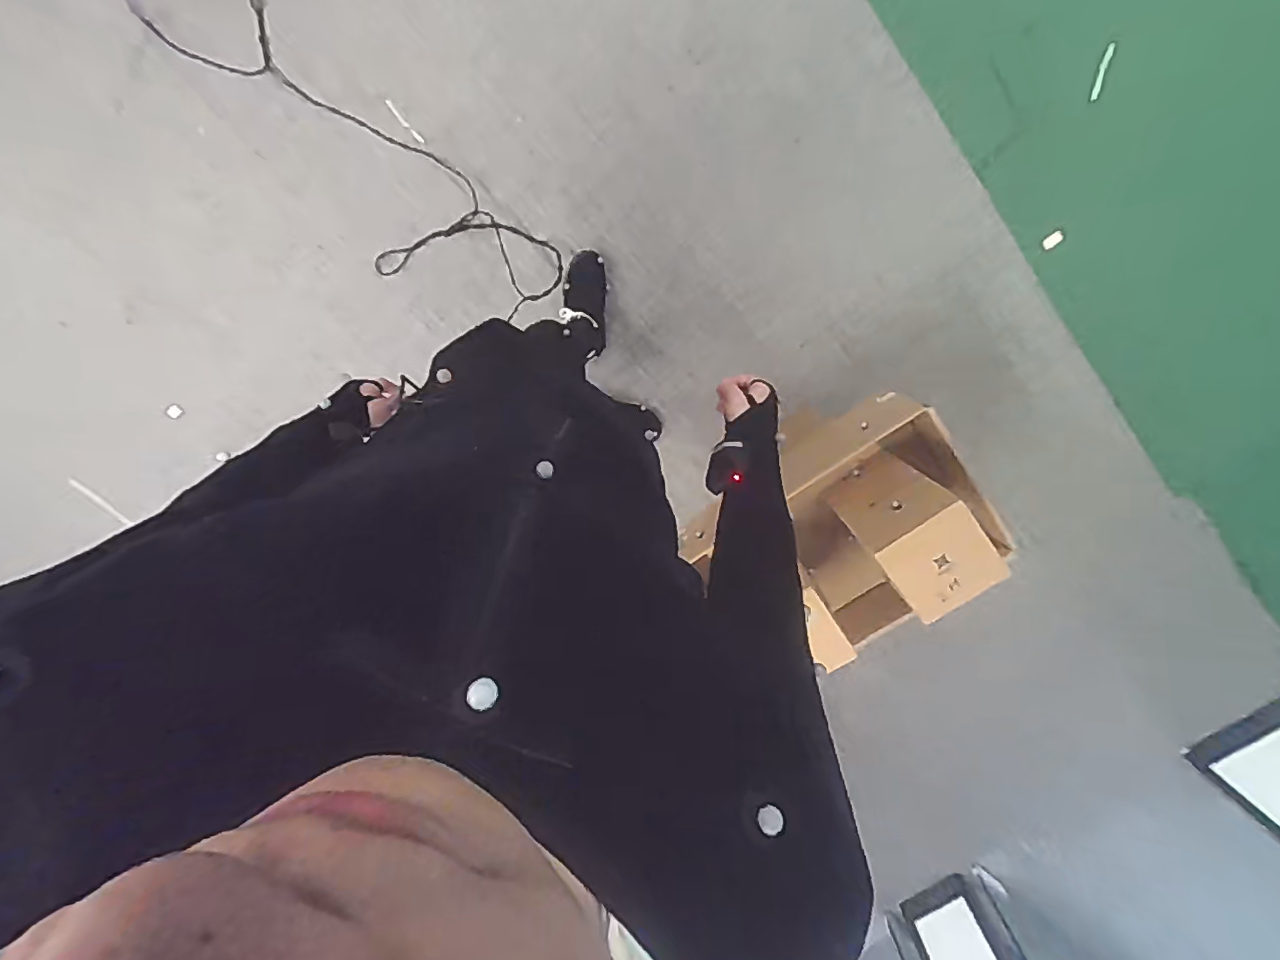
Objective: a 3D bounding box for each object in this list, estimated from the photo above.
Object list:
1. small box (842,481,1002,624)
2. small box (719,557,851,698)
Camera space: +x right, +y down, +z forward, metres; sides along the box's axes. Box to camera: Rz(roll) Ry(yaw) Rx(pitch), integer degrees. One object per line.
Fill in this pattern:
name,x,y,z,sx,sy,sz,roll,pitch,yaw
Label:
small box,0.502,0.120,0.990,0.168,0.176,0.179,-36,103,13
small box,0.270,0.272,1.047,0.168,0.176,0.179,-33,106,11
